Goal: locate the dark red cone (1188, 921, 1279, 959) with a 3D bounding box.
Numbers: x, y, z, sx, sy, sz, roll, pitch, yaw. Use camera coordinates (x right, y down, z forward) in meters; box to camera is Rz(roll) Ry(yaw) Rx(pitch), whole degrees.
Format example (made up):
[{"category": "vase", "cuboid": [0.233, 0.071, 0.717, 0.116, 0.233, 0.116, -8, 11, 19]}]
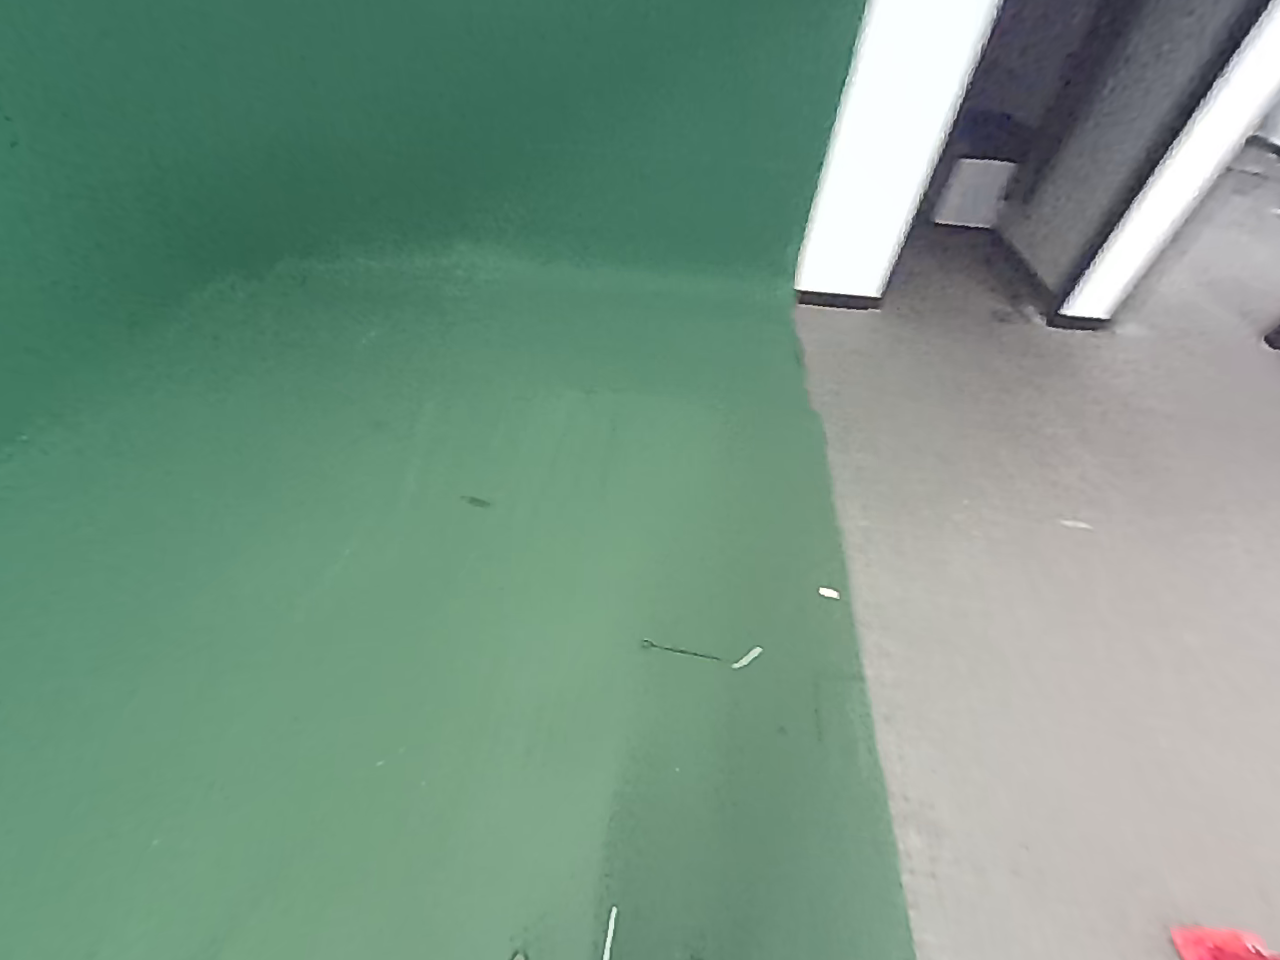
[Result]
[{"category": "dark red cone", "cuboid": [1.267, 0.918, 0.980, 0.201, 0.394, 0.202, 1, 47, -1]}]
